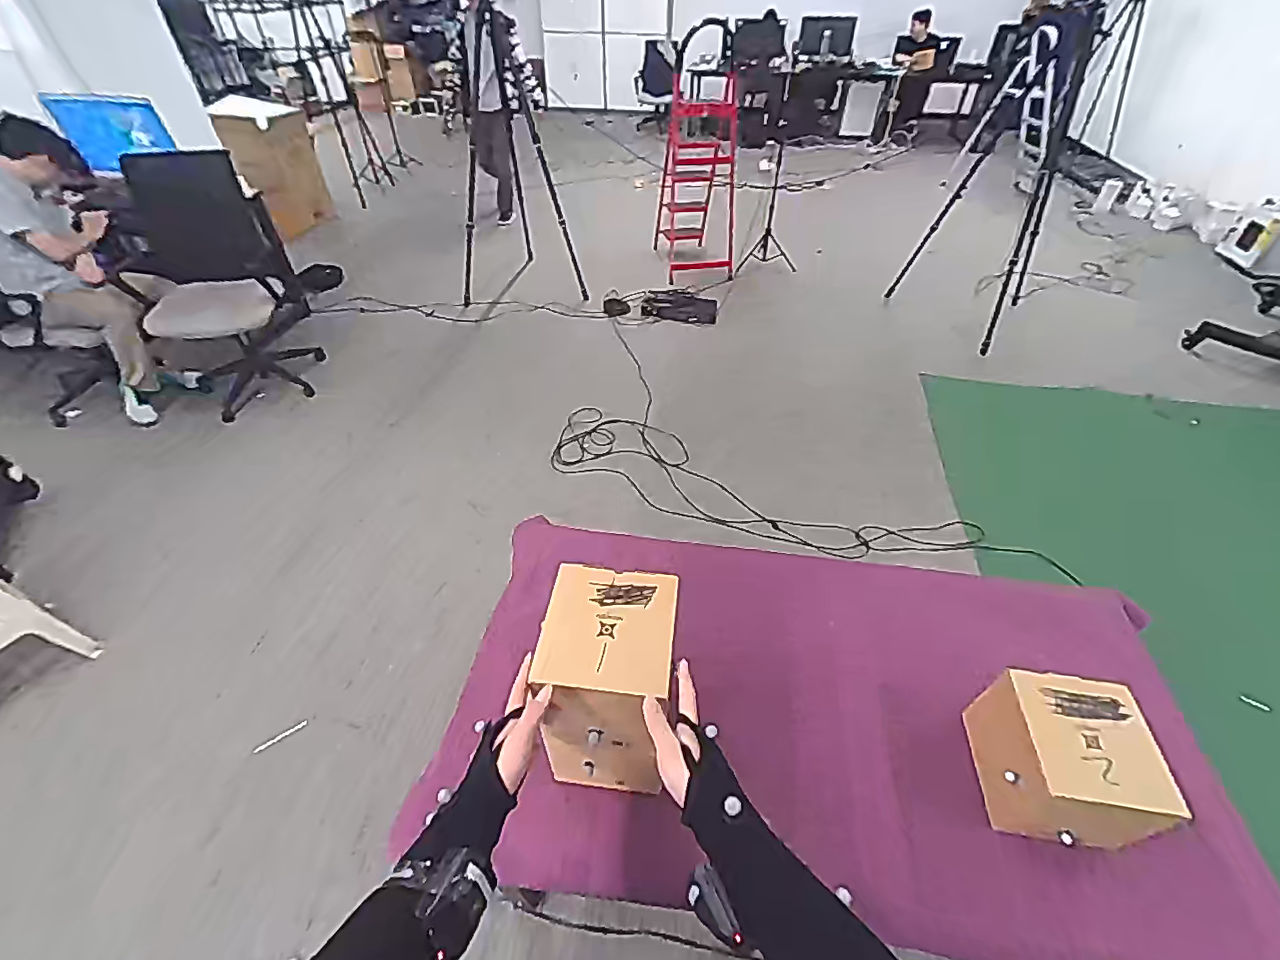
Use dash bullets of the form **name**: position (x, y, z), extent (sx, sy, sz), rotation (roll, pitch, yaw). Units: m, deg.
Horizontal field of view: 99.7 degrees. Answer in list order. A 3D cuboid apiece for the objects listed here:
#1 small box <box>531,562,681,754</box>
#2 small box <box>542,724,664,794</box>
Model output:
- **small box**: position (-0.038, 0.238, 0.728), extent (0.168, 0.176, 0.179), rotation (5, 43, 5)
- **small box**: position (-0.043, 0.361, 0.838), extent (0.168, 0.176, 0.179), rotation (5, 42, 4)
